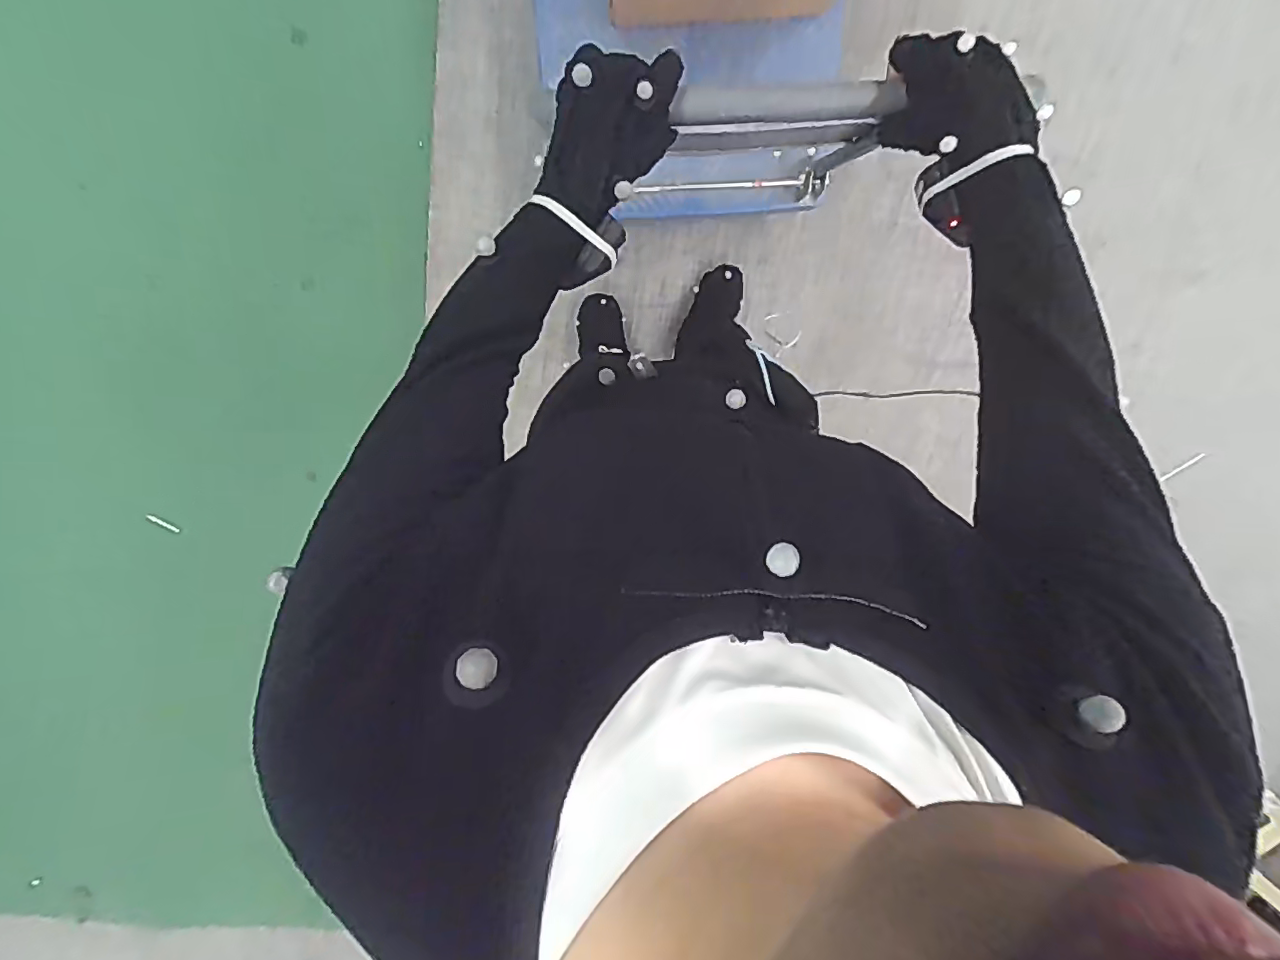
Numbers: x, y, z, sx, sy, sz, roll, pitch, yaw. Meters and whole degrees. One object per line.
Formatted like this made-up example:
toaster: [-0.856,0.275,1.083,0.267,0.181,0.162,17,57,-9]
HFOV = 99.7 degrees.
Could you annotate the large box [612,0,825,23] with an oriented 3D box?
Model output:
large box: [0.144,-0.955,0.821,0.408,0.320,0.320,-4,111,0]
